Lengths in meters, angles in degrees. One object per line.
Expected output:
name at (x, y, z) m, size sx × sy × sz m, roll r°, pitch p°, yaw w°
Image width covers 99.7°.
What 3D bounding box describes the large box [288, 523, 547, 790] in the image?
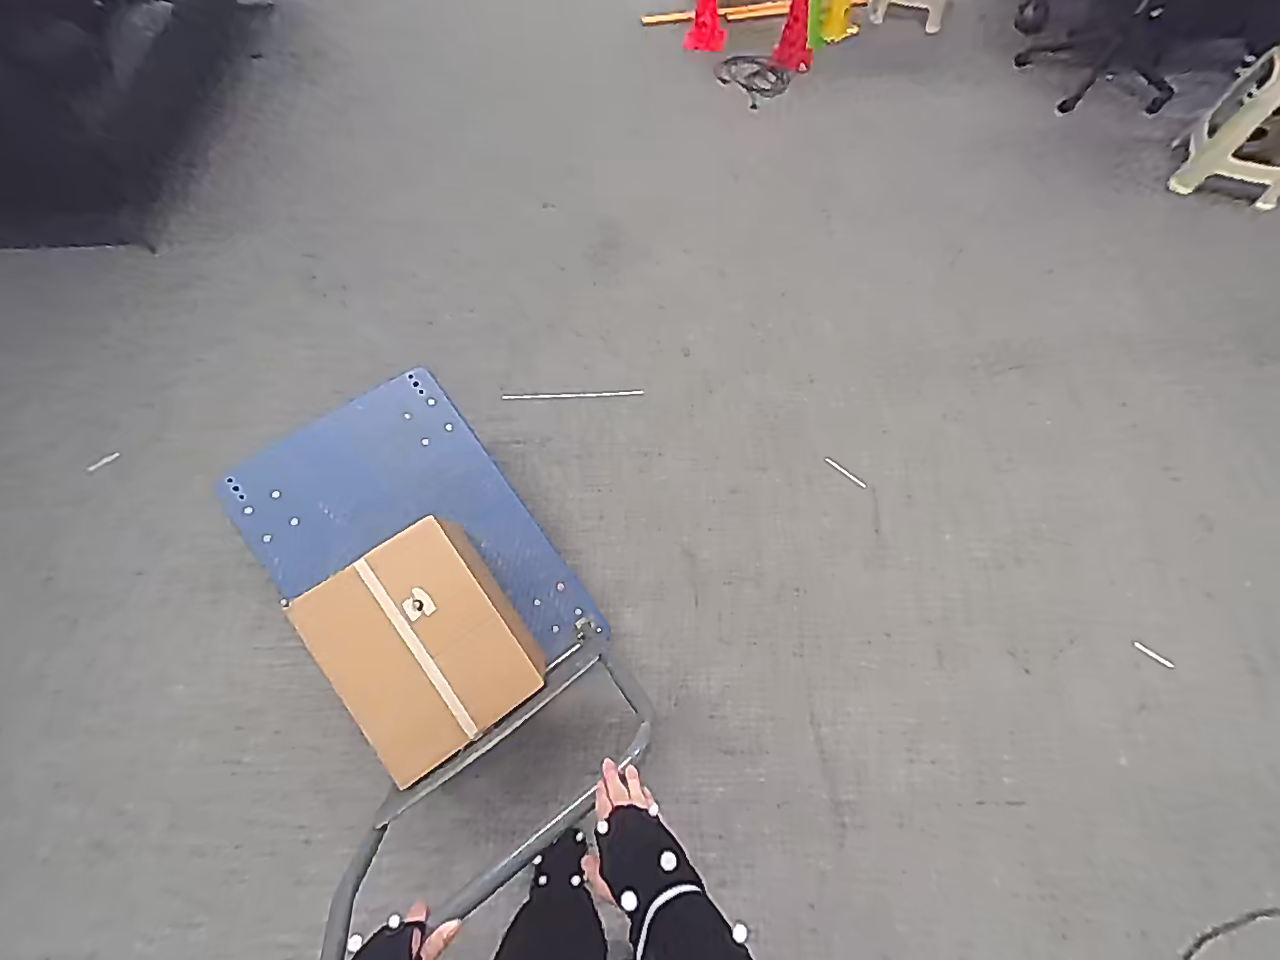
large box at (-0.441, 0.352, 1.170) m, size 0.320 × 0.320 × 0.408 m, roll -35°, pitch 87°, yaw -14°
